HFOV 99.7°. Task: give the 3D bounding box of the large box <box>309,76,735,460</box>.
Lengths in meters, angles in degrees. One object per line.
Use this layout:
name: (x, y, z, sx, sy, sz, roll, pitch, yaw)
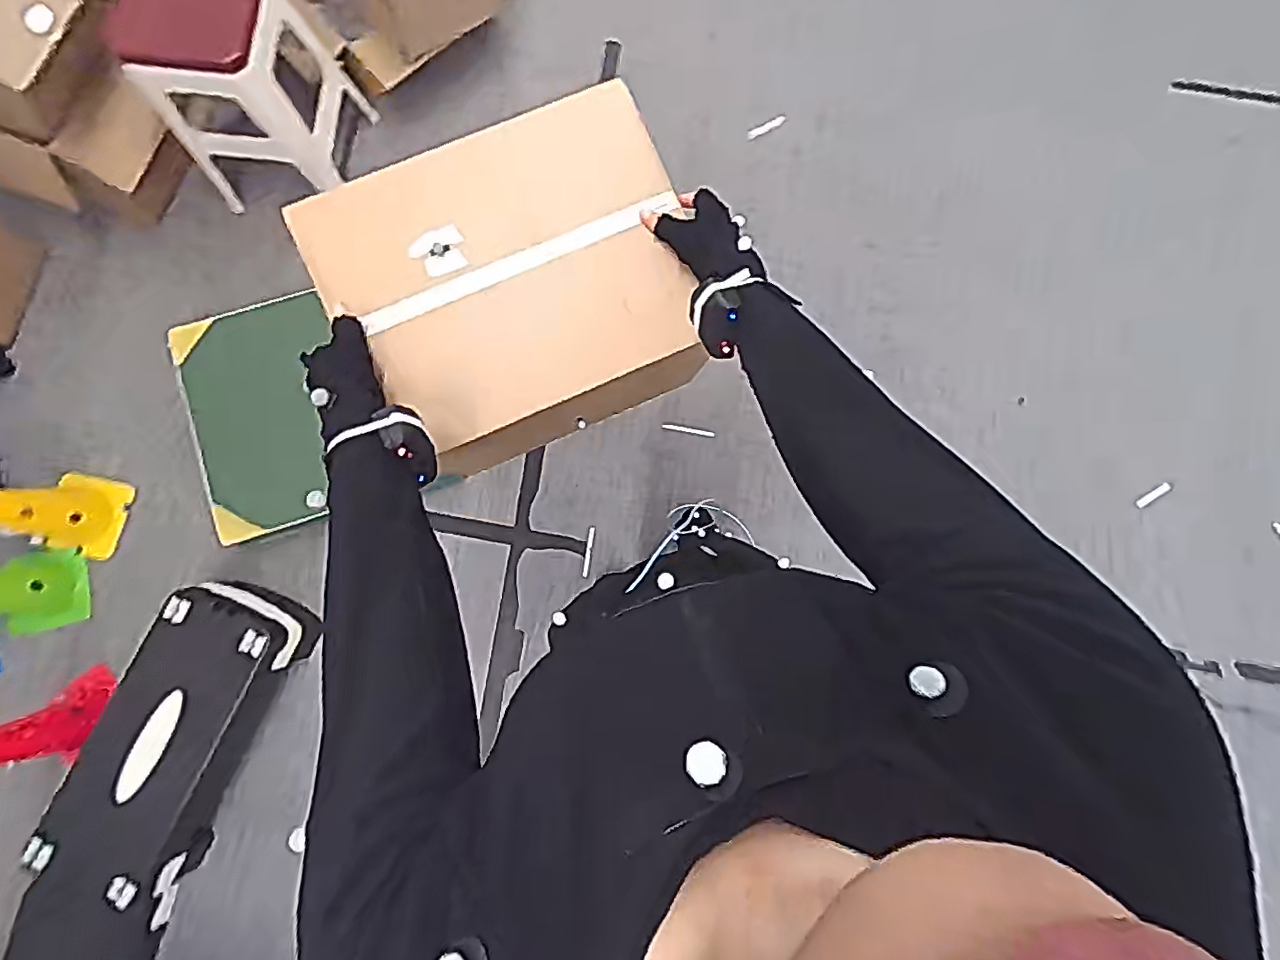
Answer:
large box: (-0.135, -0.246, 0.757, 0.408, 0.320, 0.320, -23, 90, -3)
